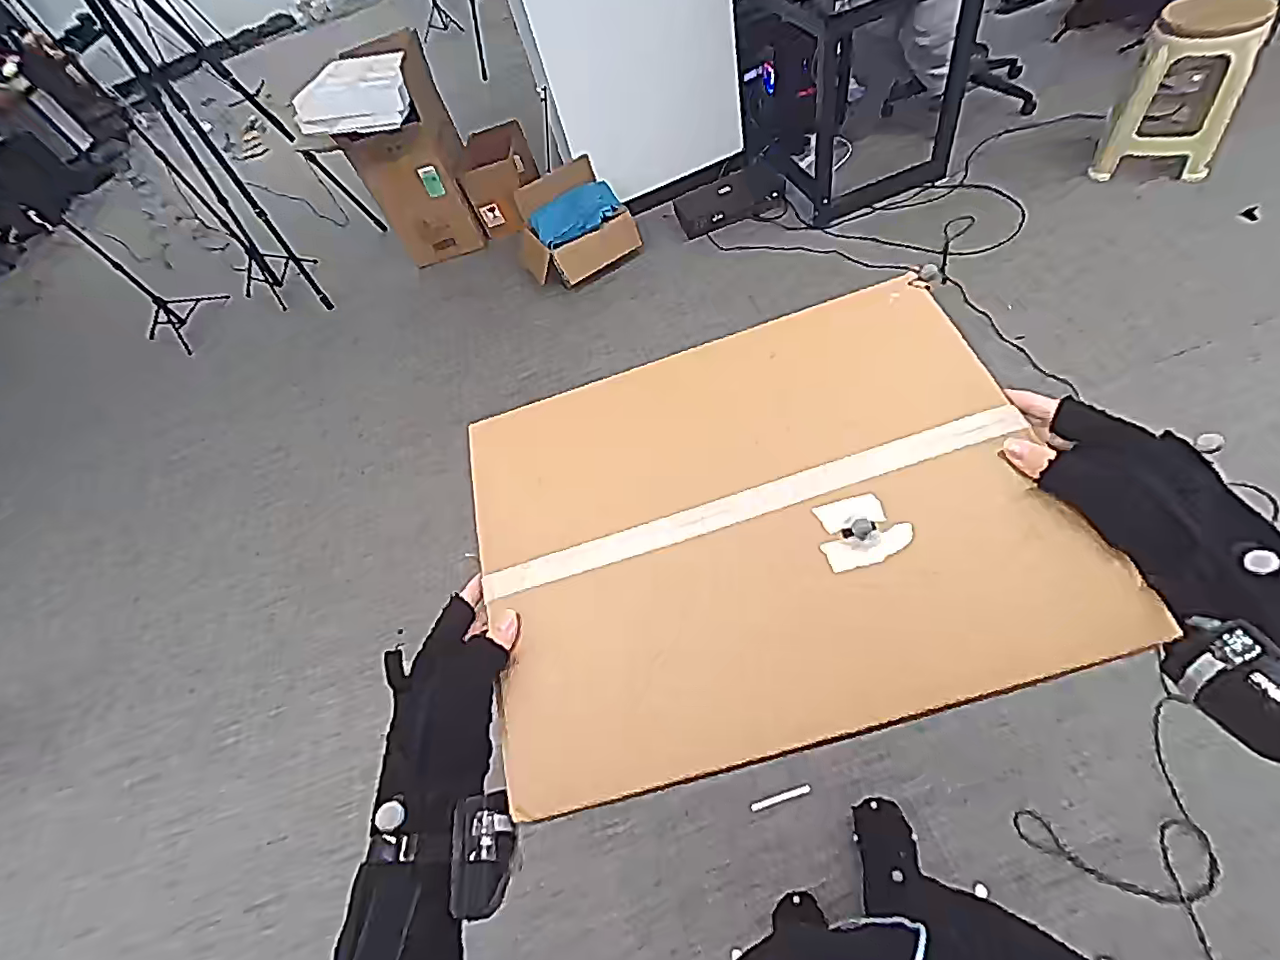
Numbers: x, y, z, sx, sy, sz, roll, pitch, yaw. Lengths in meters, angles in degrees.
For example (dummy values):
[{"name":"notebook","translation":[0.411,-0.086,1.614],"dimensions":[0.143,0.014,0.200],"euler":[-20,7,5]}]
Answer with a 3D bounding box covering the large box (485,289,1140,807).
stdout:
[{"name":"large box","translation":[0.111,0.089,0.539],"dimensions":[0.408,0.320,0.320],"euler":[-18,61,3]}]
